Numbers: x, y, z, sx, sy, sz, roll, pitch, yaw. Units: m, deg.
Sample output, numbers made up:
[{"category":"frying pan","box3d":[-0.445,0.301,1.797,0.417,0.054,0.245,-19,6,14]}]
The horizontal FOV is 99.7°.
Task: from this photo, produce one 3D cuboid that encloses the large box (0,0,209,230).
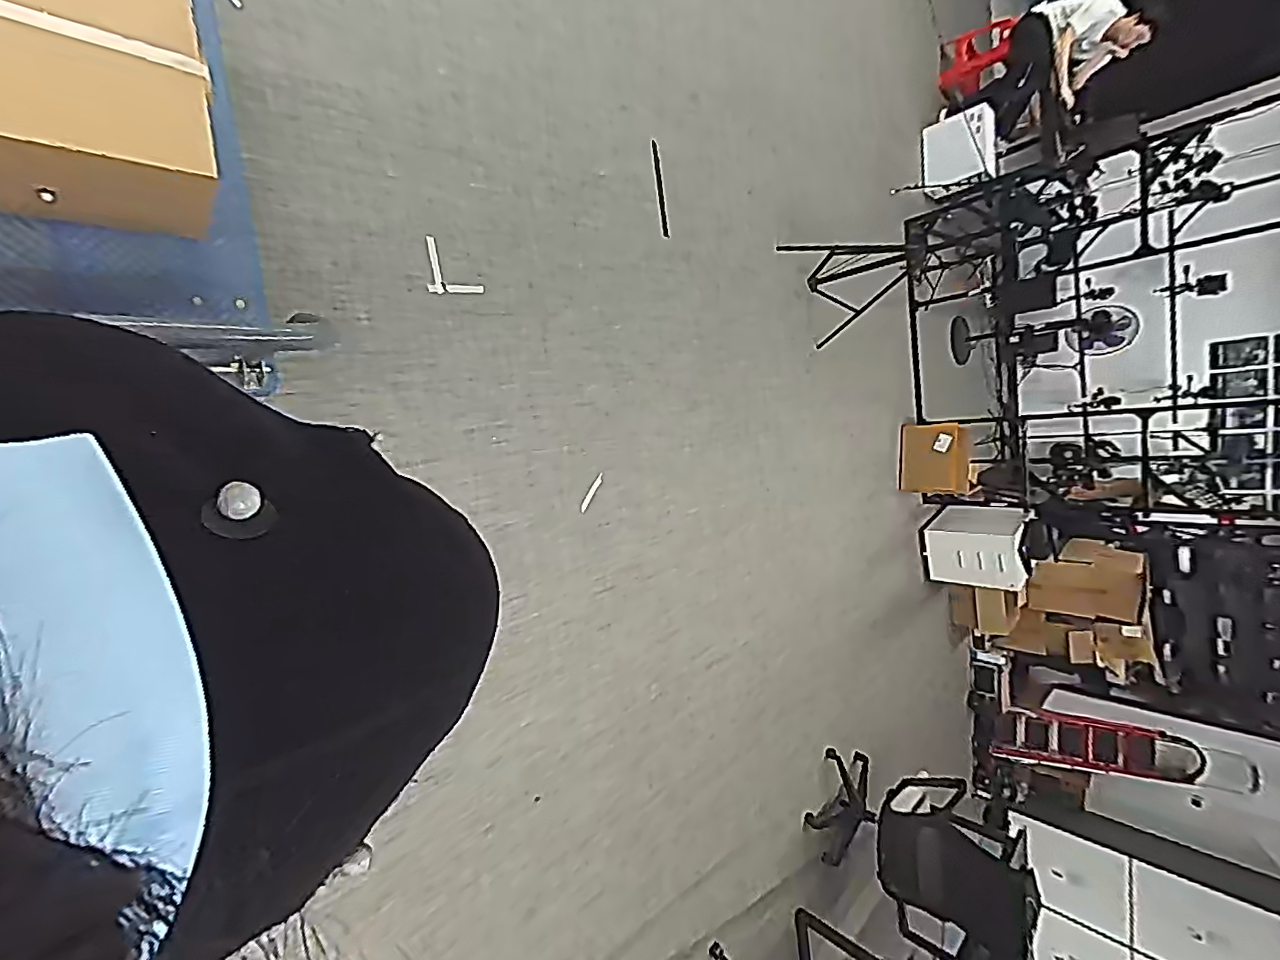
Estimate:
[{"category":"large box","box3d":[-0.929,-0.606,0.806,0.408,0.320,0.320,-10,96,-41]}]
